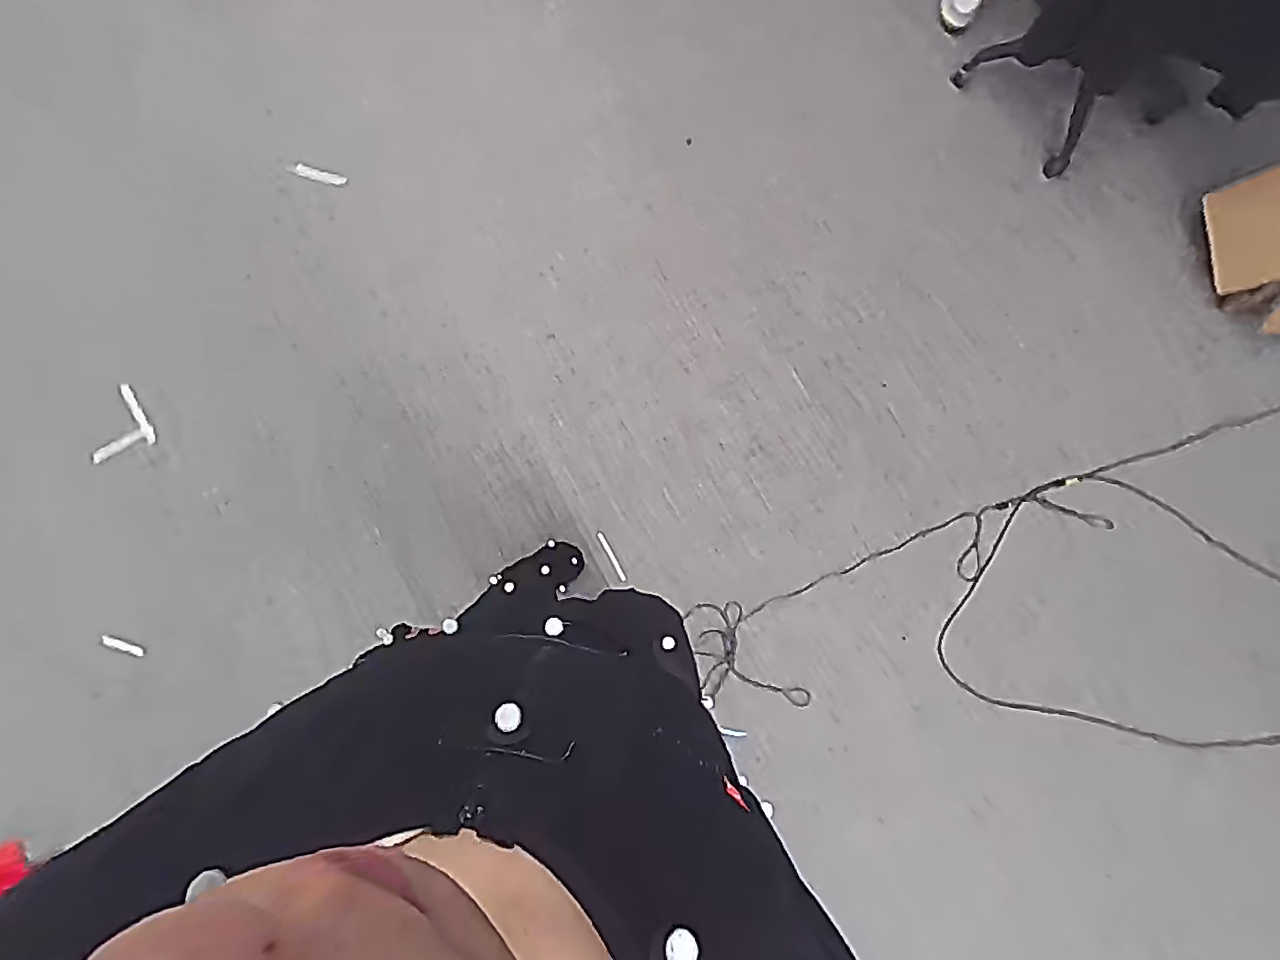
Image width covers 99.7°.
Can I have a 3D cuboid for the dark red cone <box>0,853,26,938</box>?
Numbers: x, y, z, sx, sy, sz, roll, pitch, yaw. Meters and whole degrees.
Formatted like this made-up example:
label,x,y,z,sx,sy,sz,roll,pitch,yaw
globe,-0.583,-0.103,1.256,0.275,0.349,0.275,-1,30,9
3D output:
label,x,y,z,sx,sy,sz,roll,pitch,yaw
dark red cone,-1.488,0.931,1.043,0.202,0.394,0.201,-29,86,-6
